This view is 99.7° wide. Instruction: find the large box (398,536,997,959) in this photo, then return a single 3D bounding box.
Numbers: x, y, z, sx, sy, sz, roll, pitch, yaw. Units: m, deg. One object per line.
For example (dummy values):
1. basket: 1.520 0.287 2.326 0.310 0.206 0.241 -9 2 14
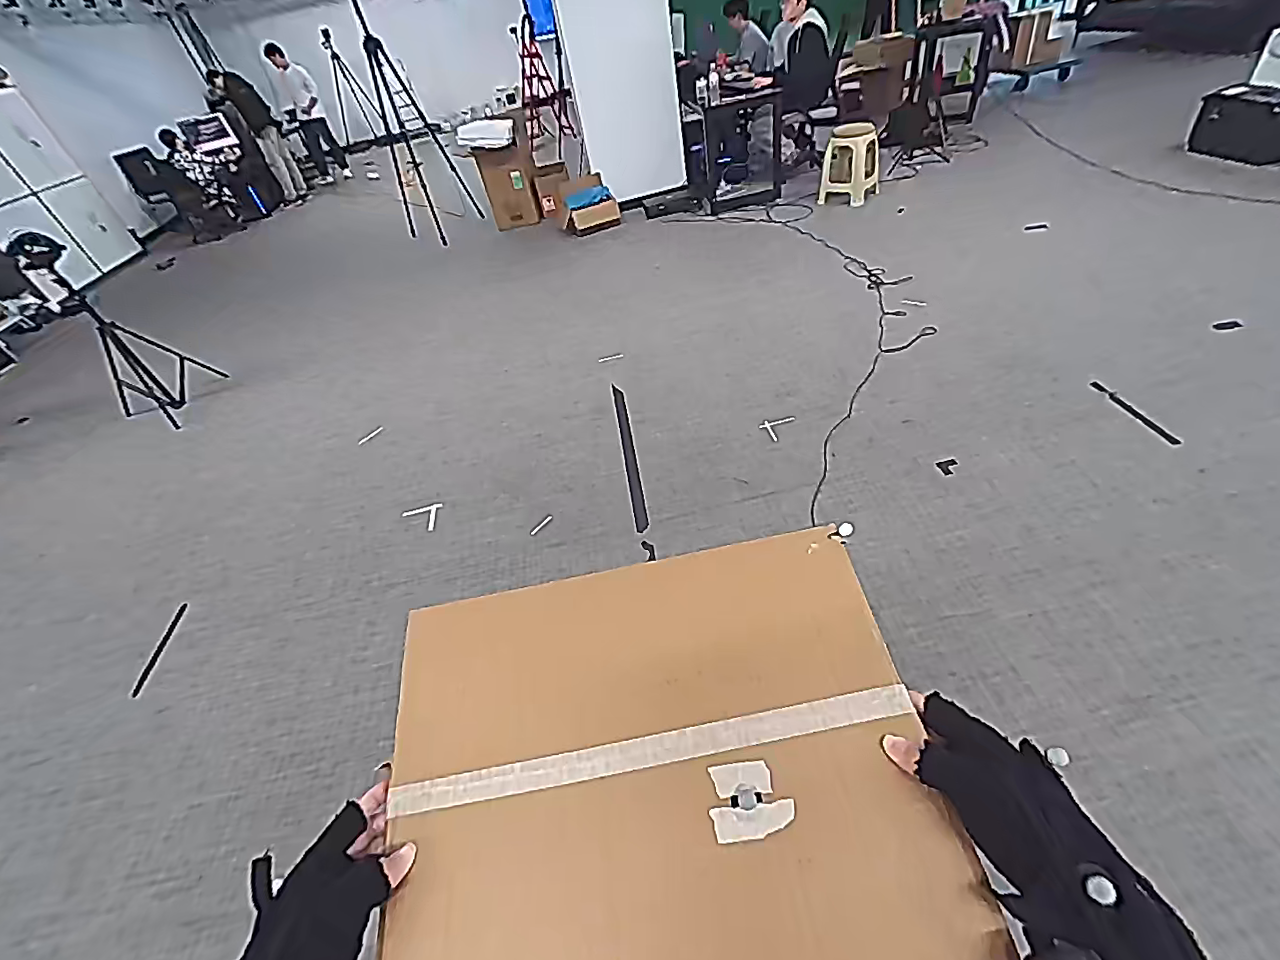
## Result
1. large box: 0.029 0.301 0.549 0.408 0.320 0.320 -12 55 1
